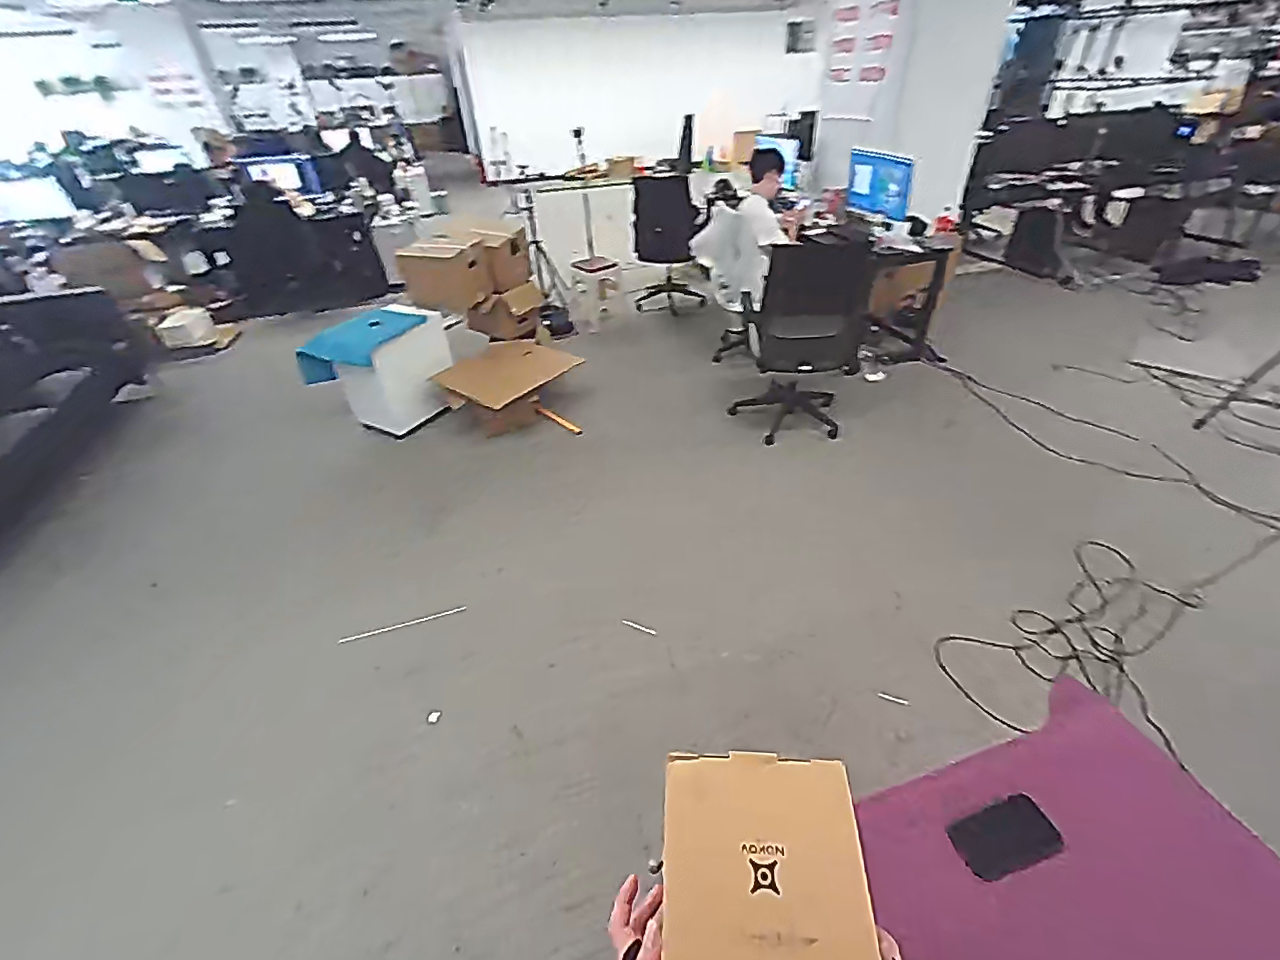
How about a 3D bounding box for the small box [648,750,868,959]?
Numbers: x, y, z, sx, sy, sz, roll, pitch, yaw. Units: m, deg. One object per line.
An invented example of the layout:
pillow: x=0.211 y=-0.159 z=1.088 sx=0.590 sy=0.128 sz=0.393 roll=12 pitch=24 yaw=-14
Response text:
small box: x=0.095 y=0.372 z=0.498 sx=0.168 sy=0.176 sz=0.179 roll=0 pitch=47 yaw=4
